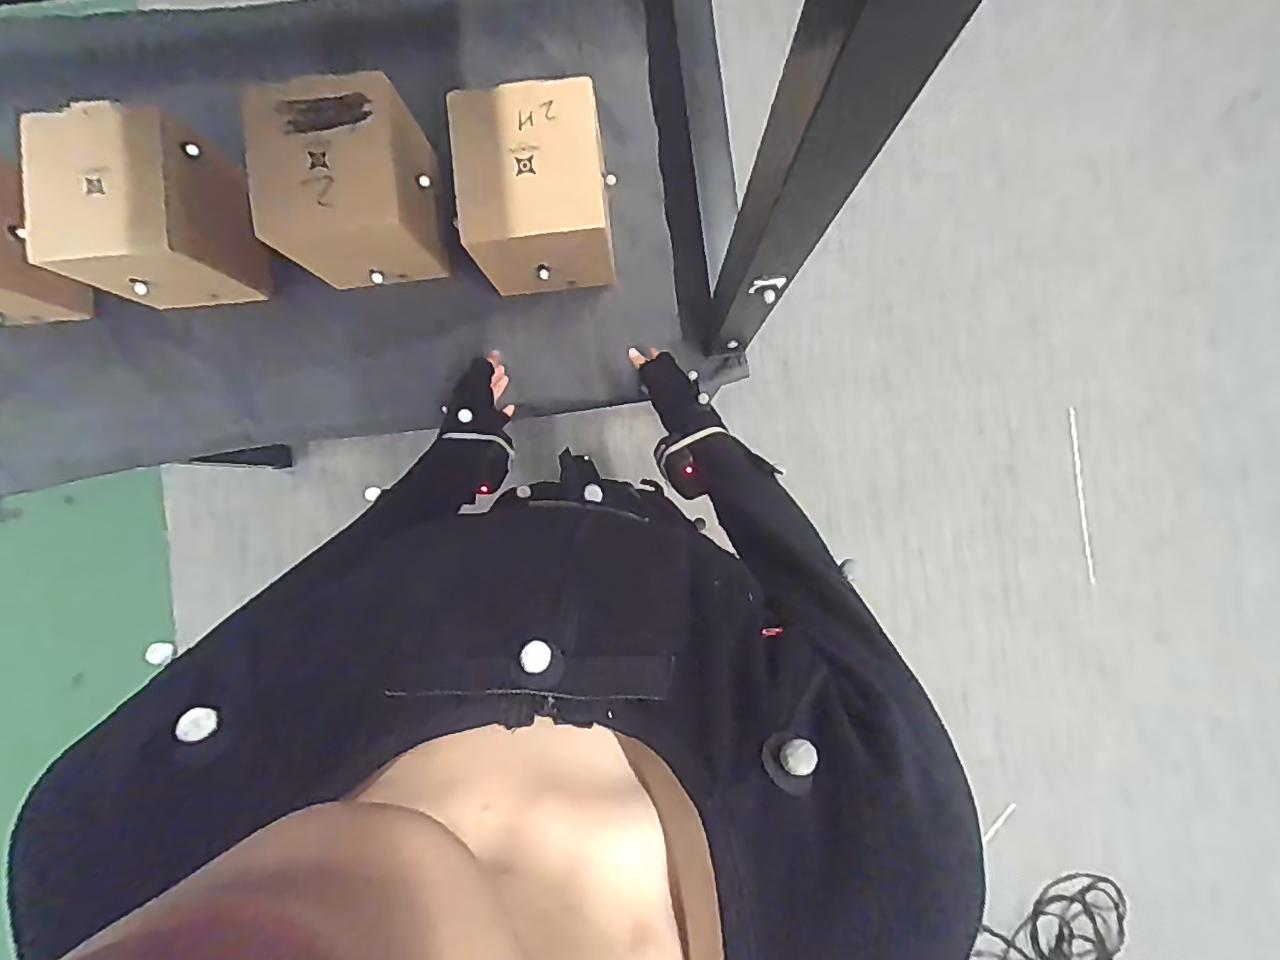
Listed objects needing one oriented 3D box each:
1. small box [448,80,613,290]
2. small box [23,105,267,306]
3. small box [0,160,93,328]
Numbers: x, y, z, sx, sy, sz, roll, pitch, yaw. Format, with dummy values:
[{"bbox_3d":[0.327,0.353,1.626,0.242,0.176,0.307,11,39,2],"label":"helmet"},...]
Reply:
[{"bbox_3d":[-0.127,-0.356,0.689,0.168,0.176,0.179,-6,88,1],"label":"small box"},{"bbox_3d":[-0.617,-0.335,0.698,0.168,0.176,0.179,-5,88,0],"label":"small box"},{"bbox_3d":[-0.869,-0.311,0.697,0.168,0.176,0.179,-5,89,1],"label":"small box"}]
